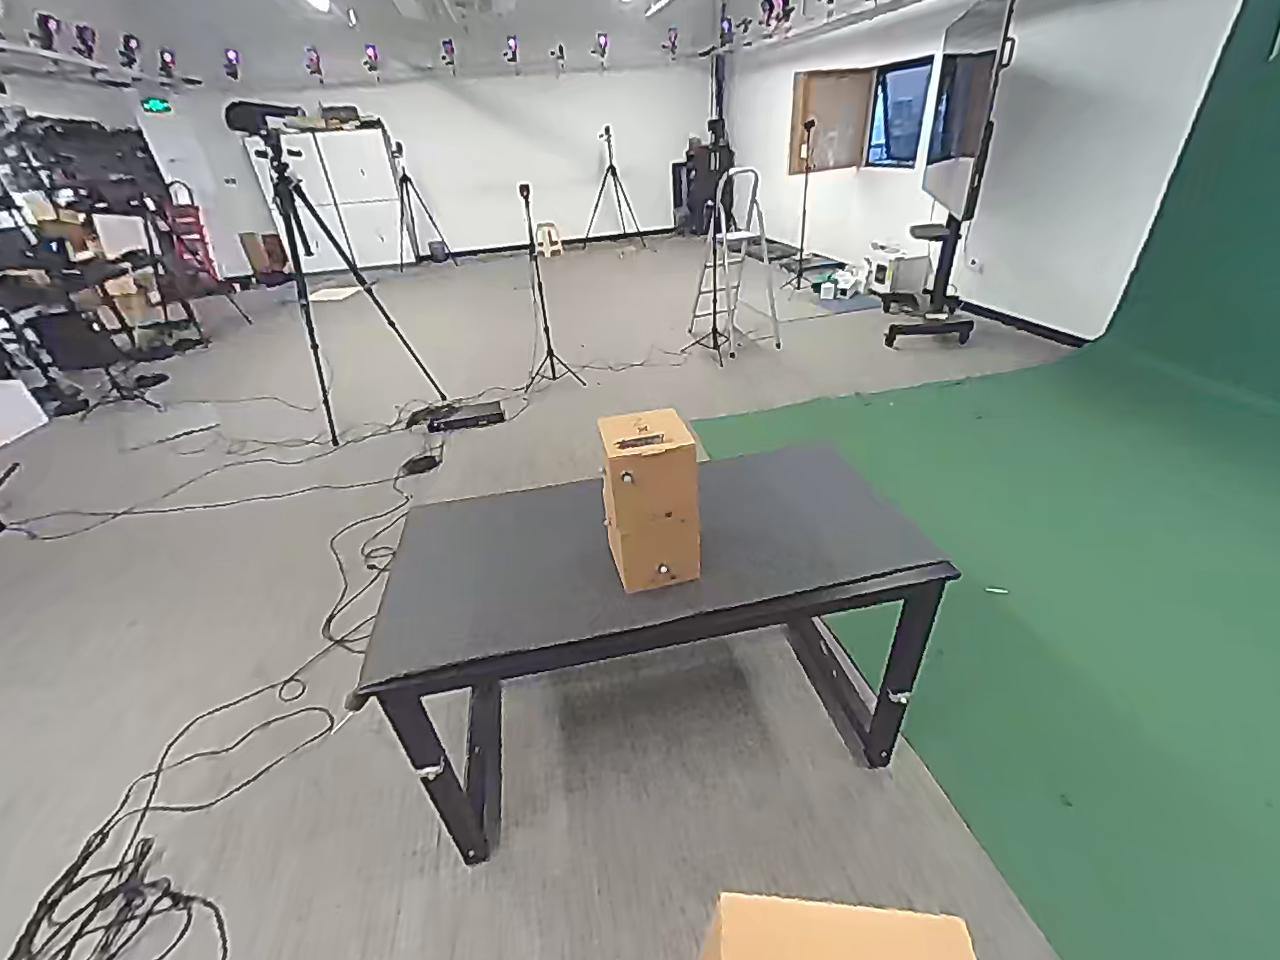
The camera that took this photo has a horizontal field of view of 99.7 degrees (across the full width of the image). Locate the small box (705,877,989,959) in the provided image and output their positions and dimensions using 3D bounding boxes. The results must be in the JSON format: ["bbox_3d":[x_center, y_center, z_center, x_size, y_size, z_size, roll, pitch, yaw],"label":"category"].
[{"bbox_3d":[0.130,0.392,0.345,0.168,0.176,0.179,3,38,3],"label":"small box"}]

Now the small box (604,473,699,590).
[{"bbox_3d":[0.023,0.110,1.172,0.168,0.176,0.179,-11,32,-10],"label":"small box"}]
